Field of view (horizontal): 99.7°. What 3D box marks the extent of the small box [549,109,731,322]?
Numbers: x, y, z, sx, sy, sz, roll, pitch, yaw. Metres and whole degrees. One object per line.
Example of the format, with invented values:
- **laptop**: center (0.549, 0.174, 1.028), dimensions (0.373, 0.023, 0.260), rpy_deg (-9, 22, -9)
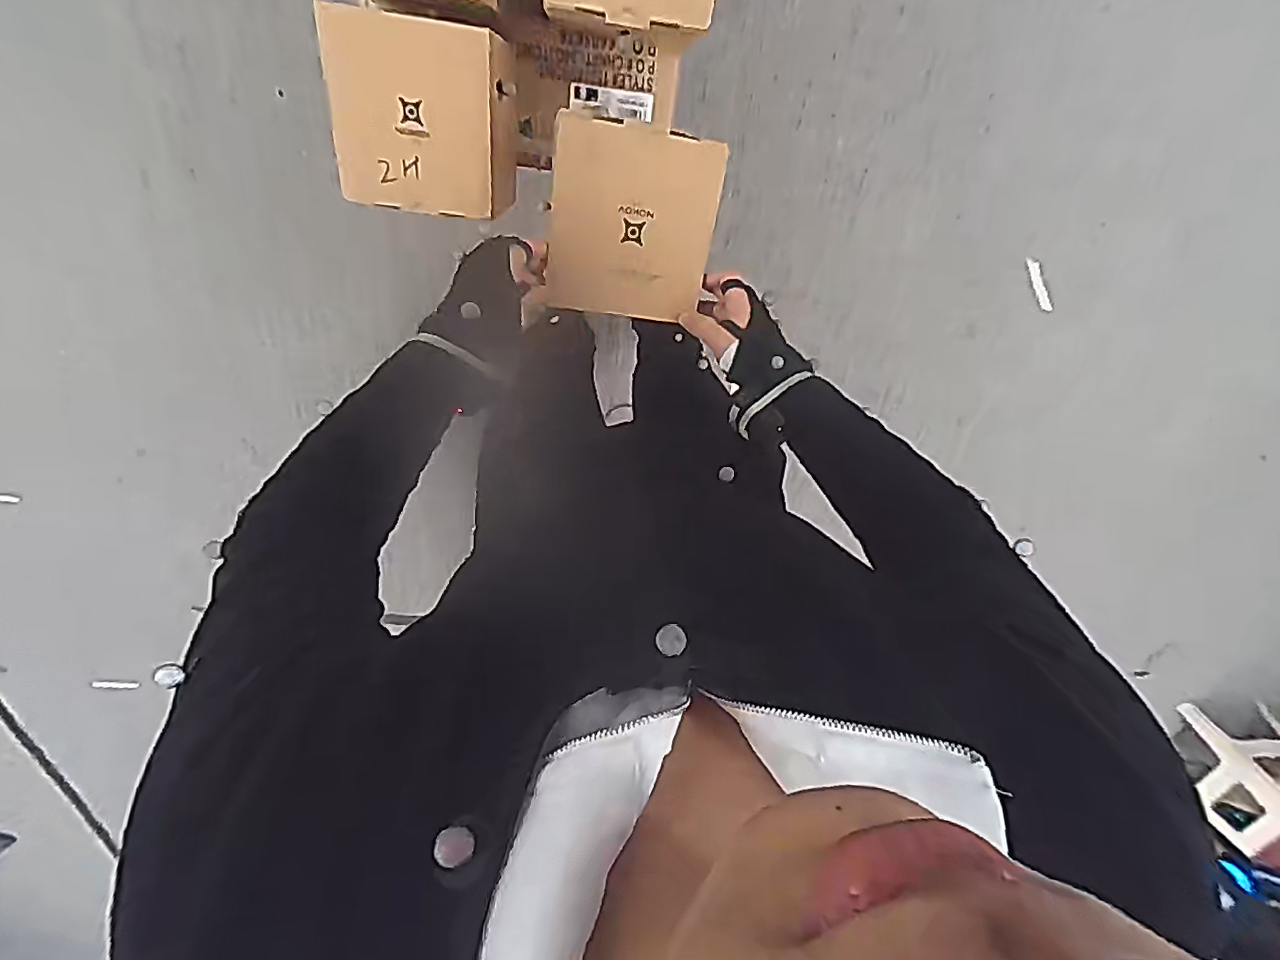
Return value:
- **small box**: center (-0.015, -0.295, 0.613), dimensions (0.168, 0.176, 0.179), rpy_deg (3, 119, -11)
